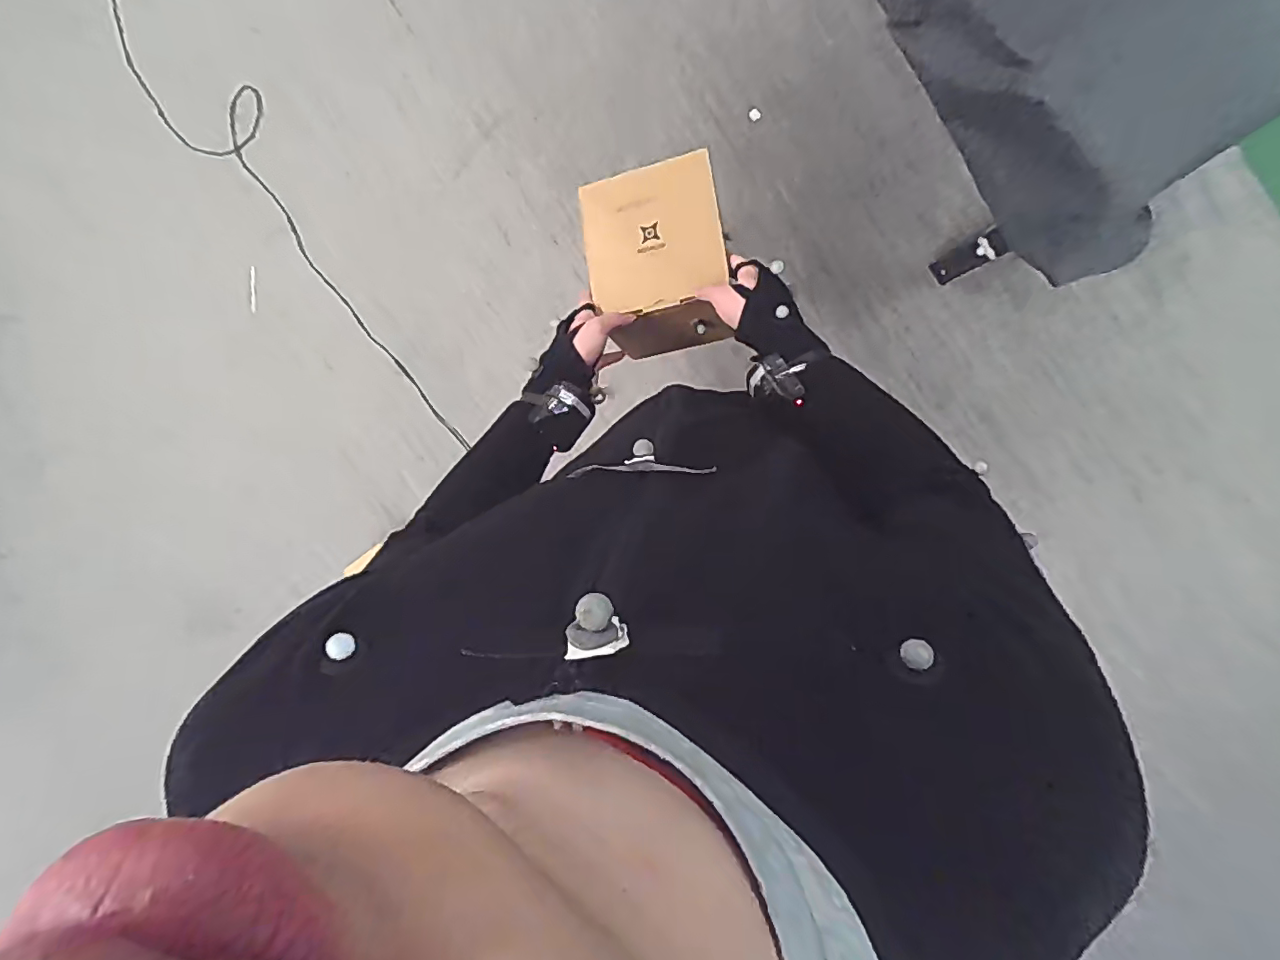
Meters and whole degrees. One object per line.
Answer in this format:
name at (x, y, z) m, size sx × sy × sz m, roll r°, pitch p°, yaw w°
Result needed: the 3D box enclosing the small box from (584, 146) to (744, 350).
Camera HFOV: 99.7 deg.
small box at (0.040, -0.286, 0.716) m, size 0.168 × 0.176 × 0.179 m, roll -11°, pitch 81°, yaw 13°
